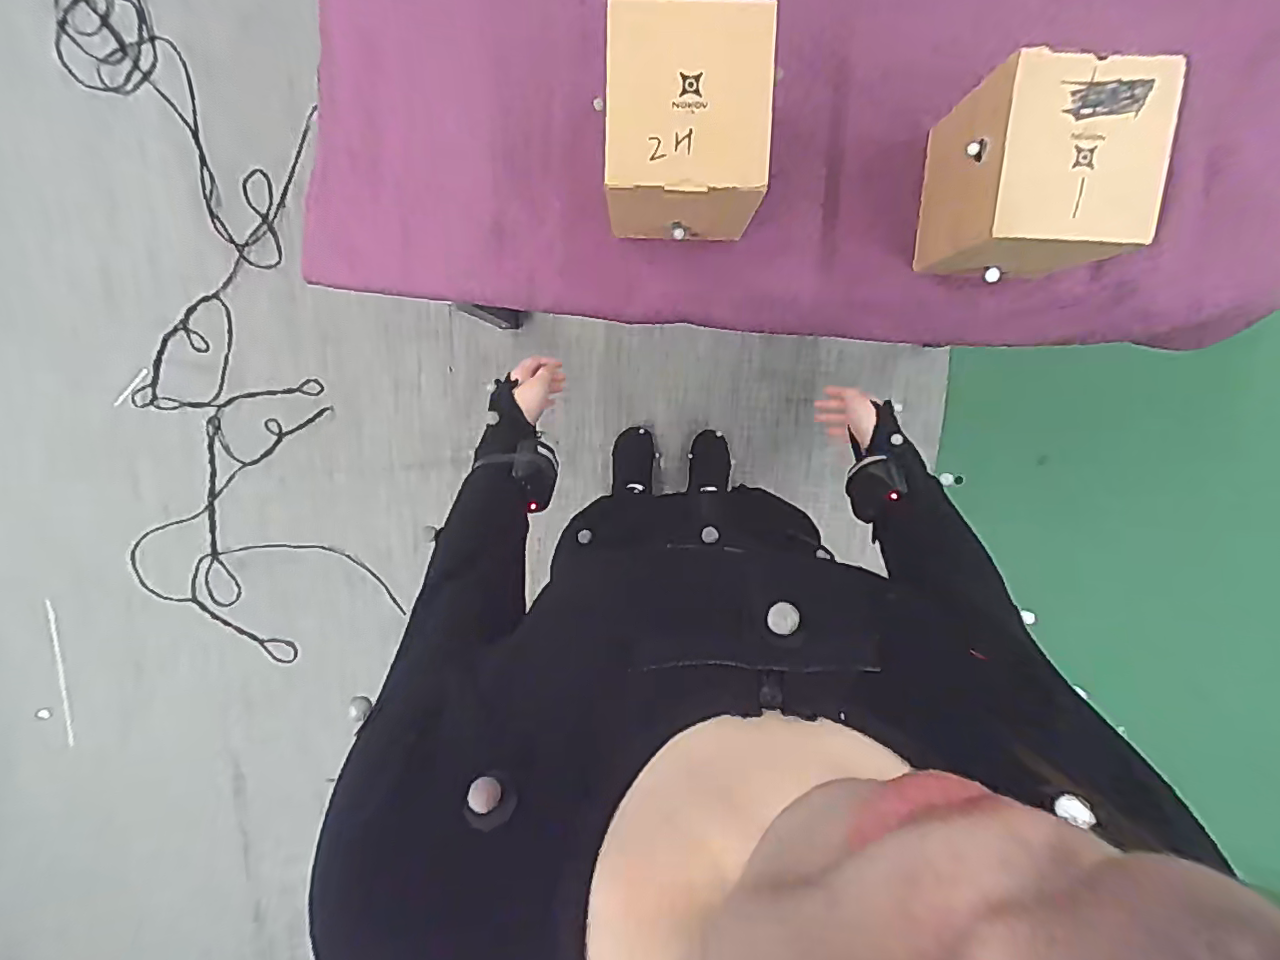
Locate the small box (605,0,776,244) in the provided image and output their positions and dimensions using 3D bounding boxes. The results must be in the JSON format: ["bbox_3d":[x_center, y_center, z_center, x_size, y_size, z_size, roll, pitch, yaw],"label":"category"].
[{"bbox_3d":[0.049,-0.386,0.612,0.168,0.176,0.179,1,97,1],"label":"small box"}]

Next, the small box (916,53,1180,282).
[{"bbox_3d":[0.442,-0.338,0.618,0.168,0.176,0.179,3,99,0],"label":"small box"}]
